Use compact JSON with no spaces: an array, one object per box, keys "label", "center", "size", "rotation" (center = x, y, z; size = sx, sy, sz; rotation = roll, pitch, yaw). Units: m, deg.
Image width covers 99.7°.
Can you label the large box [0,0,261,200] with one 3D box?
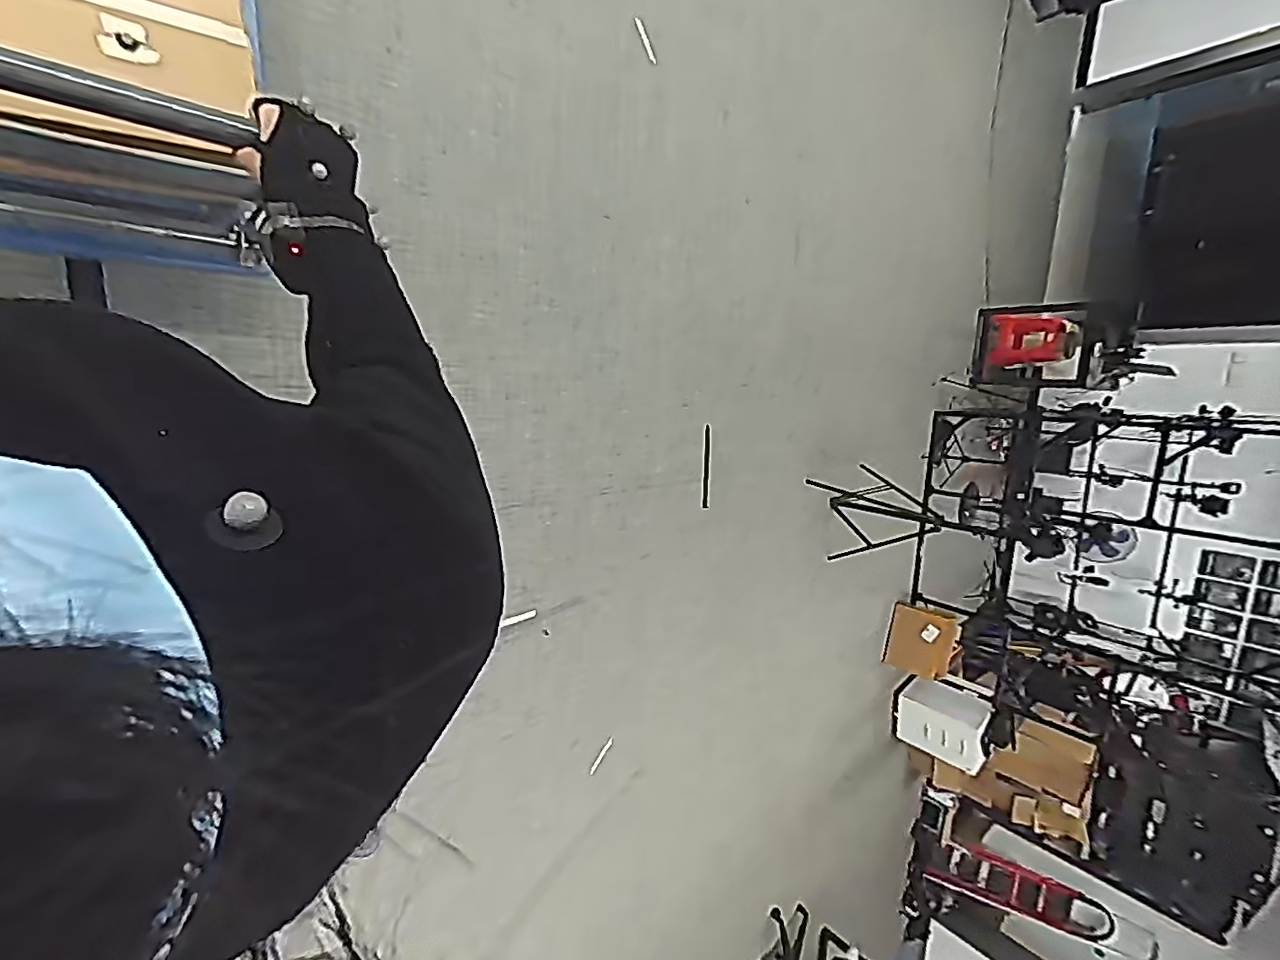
[{"label":"large box","center":[-0.827,-0.623,0.762],"size":[0.408,0.320,0.320],"rotation":[-13,108,-42]}]
